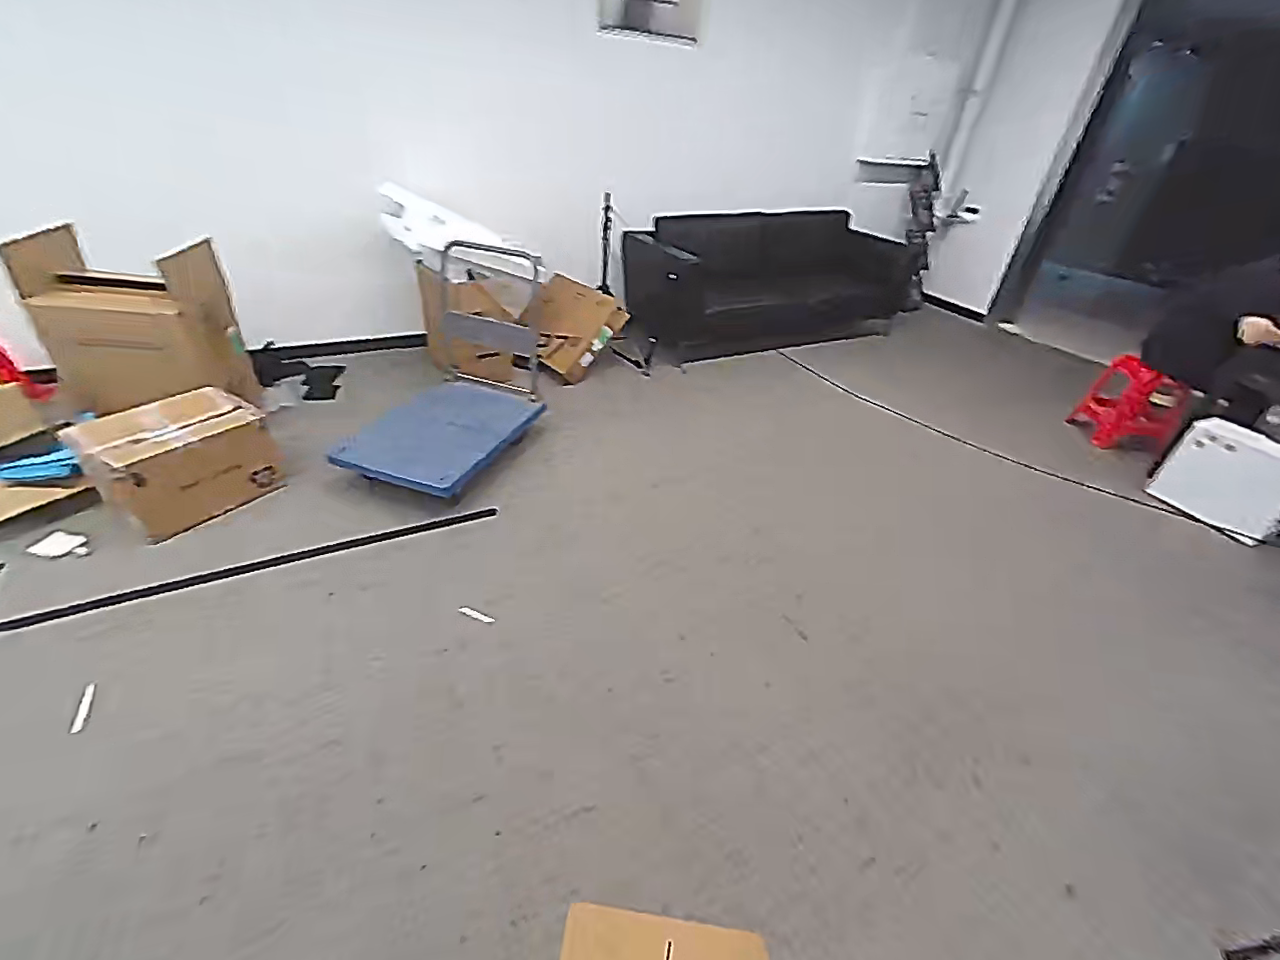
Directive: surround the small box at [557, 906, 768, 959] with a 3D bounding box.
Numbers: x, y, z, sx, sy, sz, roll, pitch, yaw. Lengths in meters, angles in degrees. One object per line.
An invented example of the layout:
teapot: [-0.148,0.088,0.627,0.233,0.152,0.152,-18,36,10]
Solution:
small box: [0.006,0.457,0.374,0.168,0.176,0.179,8,8,2]
